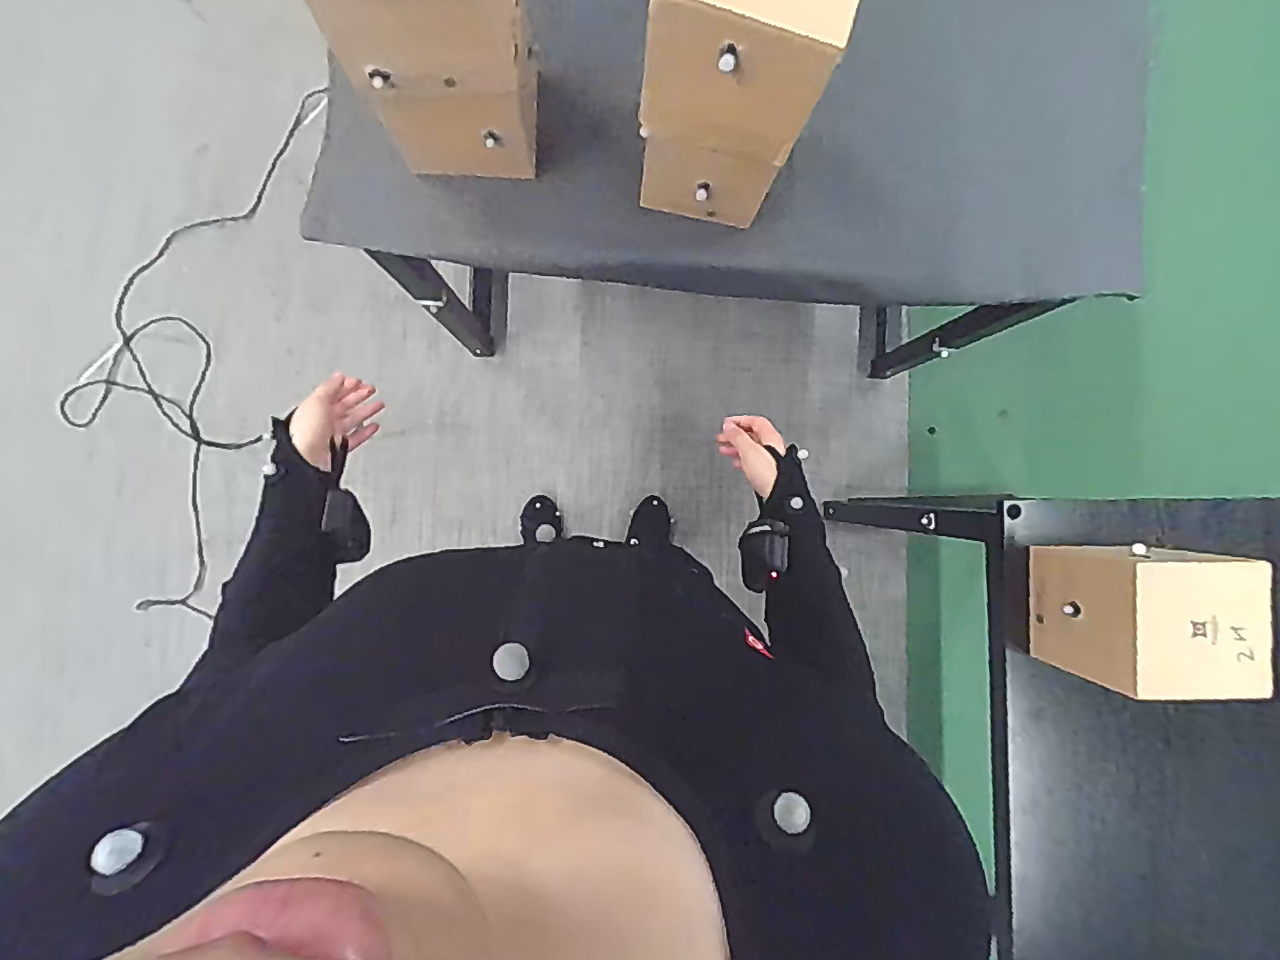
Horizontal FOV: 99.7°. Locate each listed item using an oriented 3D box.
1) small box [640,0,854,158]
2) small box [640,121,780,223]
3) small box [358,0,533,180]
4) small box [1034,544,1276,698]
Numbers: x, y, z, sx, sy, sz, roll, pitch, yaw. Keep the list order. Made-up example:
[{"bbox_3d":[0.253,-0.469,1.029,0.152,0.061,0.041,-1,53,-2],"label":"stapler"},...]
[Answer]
[{"bbox_3d":[0.105,-0.464,0.544,0.179,0.176,0.168,16,87,-1],"label":"small box"},{"bbox_3d":[0.095,-0.468,0.708,0.168,0.176,0.179,10,88,-2],"label":"small box"},{"bbox_3d":[-0.235,-0.512,0.695,0.179,0.176,0.168,0,87,-2],"label":"small box"},{"bbox_3d":[0.667,0.178,0.721,0.179,0.176,0.168,0,90,-3],"label":"small box"}]
